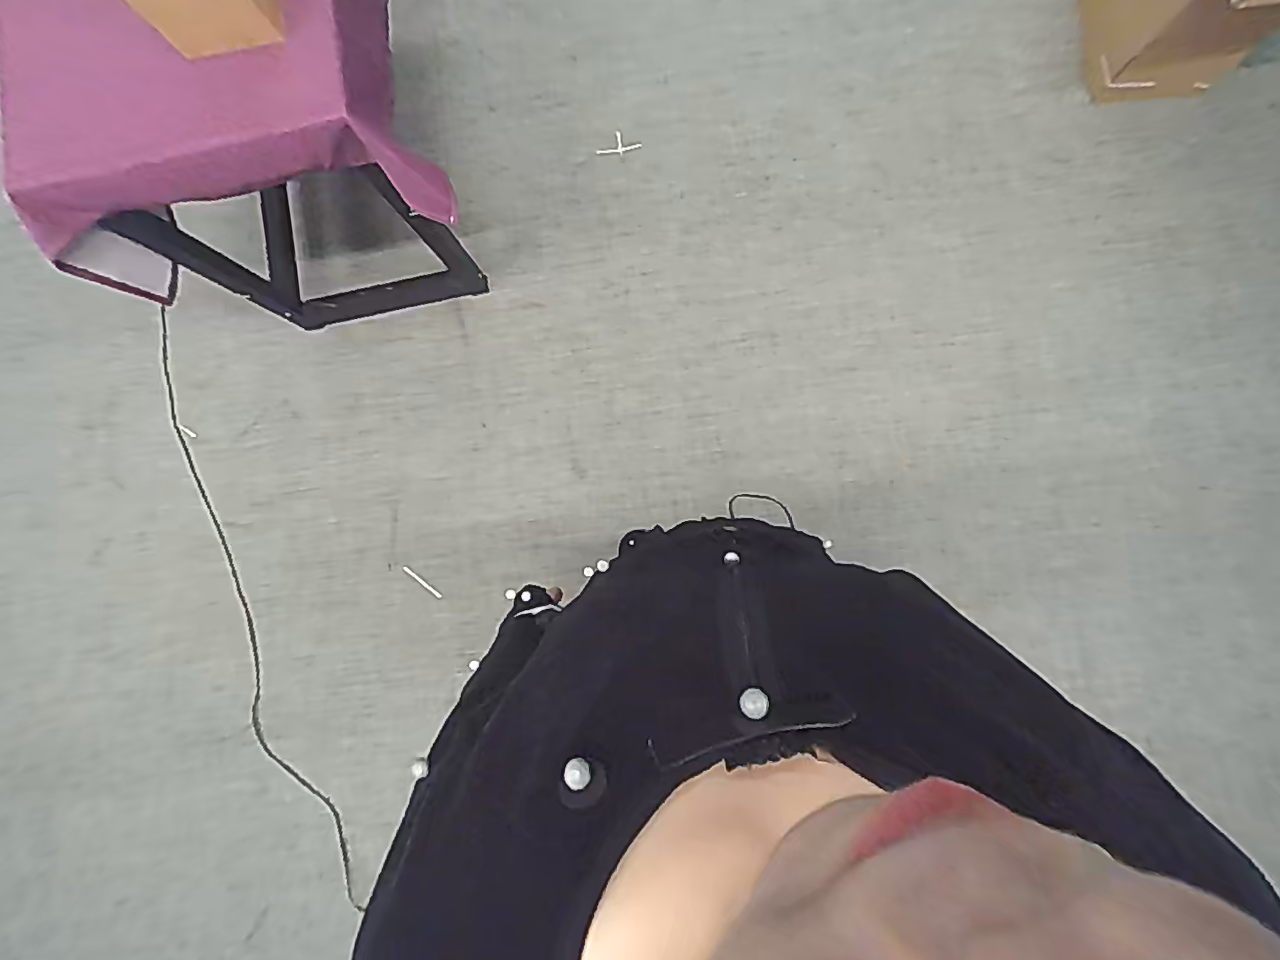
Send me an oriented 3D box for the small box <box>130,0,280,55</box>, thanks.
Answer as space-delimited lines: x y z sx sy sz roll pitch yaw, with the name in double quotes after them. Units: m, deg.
-0.683 -0.801 0.824 0.179 0.176 0.168 -7 85 4 "small box"
